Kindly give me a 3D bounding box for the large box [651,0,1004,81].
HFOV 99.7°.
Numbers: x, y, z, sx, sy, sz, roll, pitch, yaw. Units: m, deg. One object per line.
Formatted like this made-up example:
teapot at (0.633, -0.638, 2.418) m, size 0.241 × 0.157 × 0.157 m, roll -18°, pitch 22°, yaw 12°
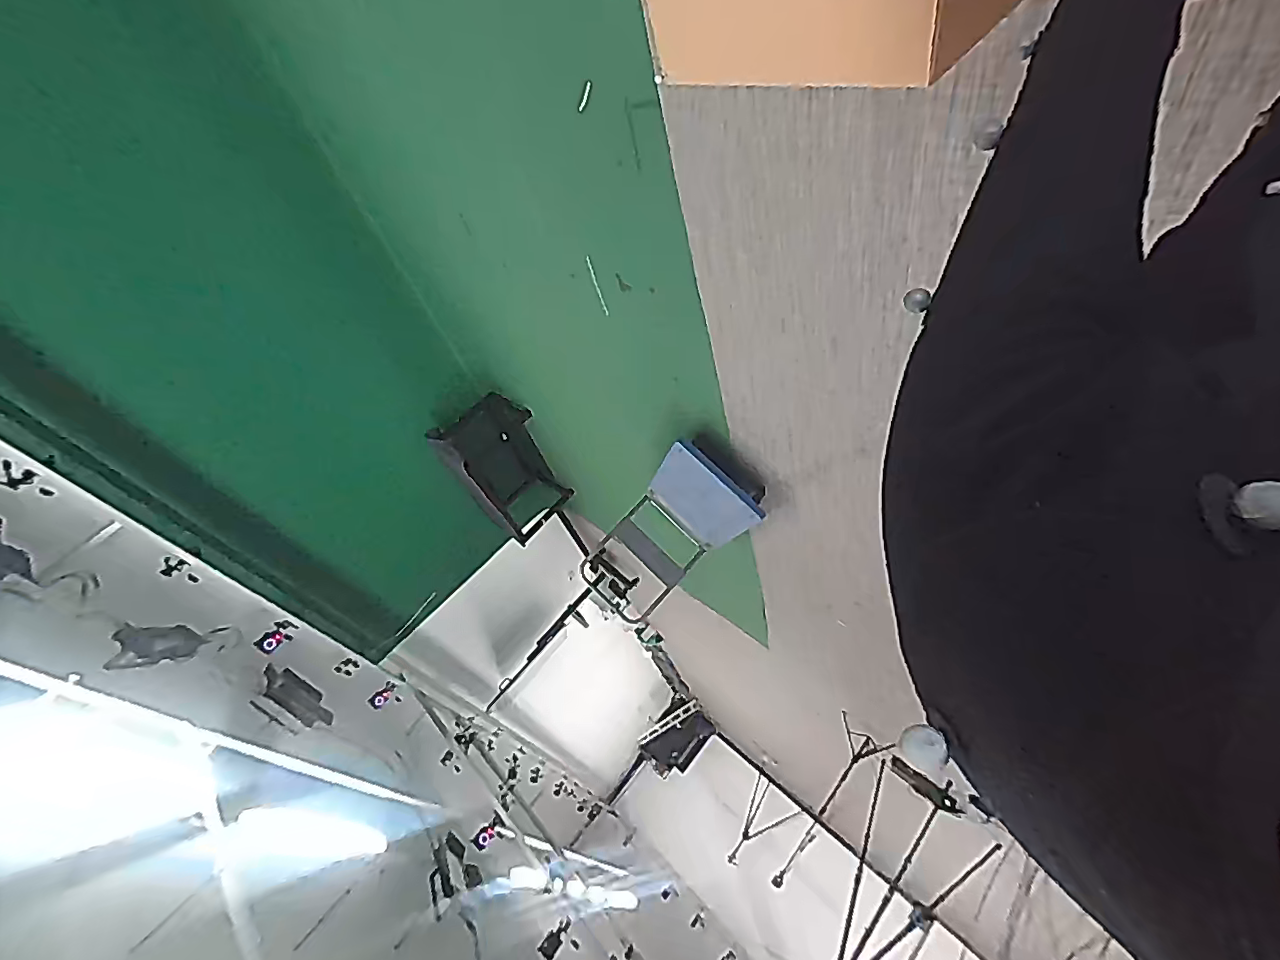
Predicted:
large box at (0.240, -0.722, 0.639) m, size 0.408 × 0.320 × 0.320 m, roll 32°, pitch 160°, yaw 35°
